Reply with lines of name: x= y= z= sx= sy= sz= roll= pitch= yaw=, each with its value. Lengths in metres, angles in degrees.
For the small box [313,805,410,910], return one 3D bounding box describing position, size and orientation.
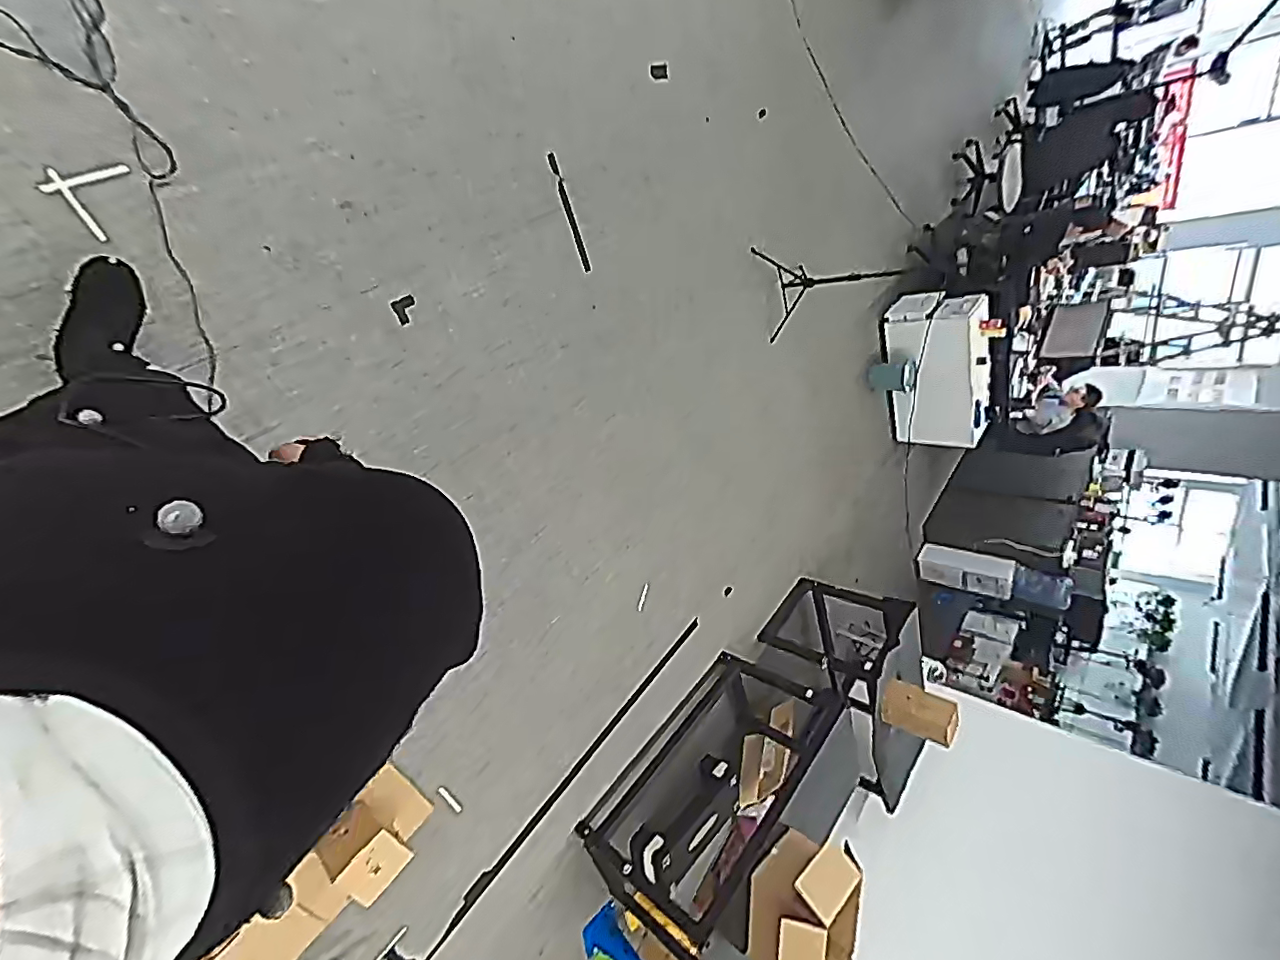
small box: x=-0.831 y=1.120 z=1.616 sx=0.168 sy=0.176 sz=0.179 roll=-44 pitch=126 yaw=-33
